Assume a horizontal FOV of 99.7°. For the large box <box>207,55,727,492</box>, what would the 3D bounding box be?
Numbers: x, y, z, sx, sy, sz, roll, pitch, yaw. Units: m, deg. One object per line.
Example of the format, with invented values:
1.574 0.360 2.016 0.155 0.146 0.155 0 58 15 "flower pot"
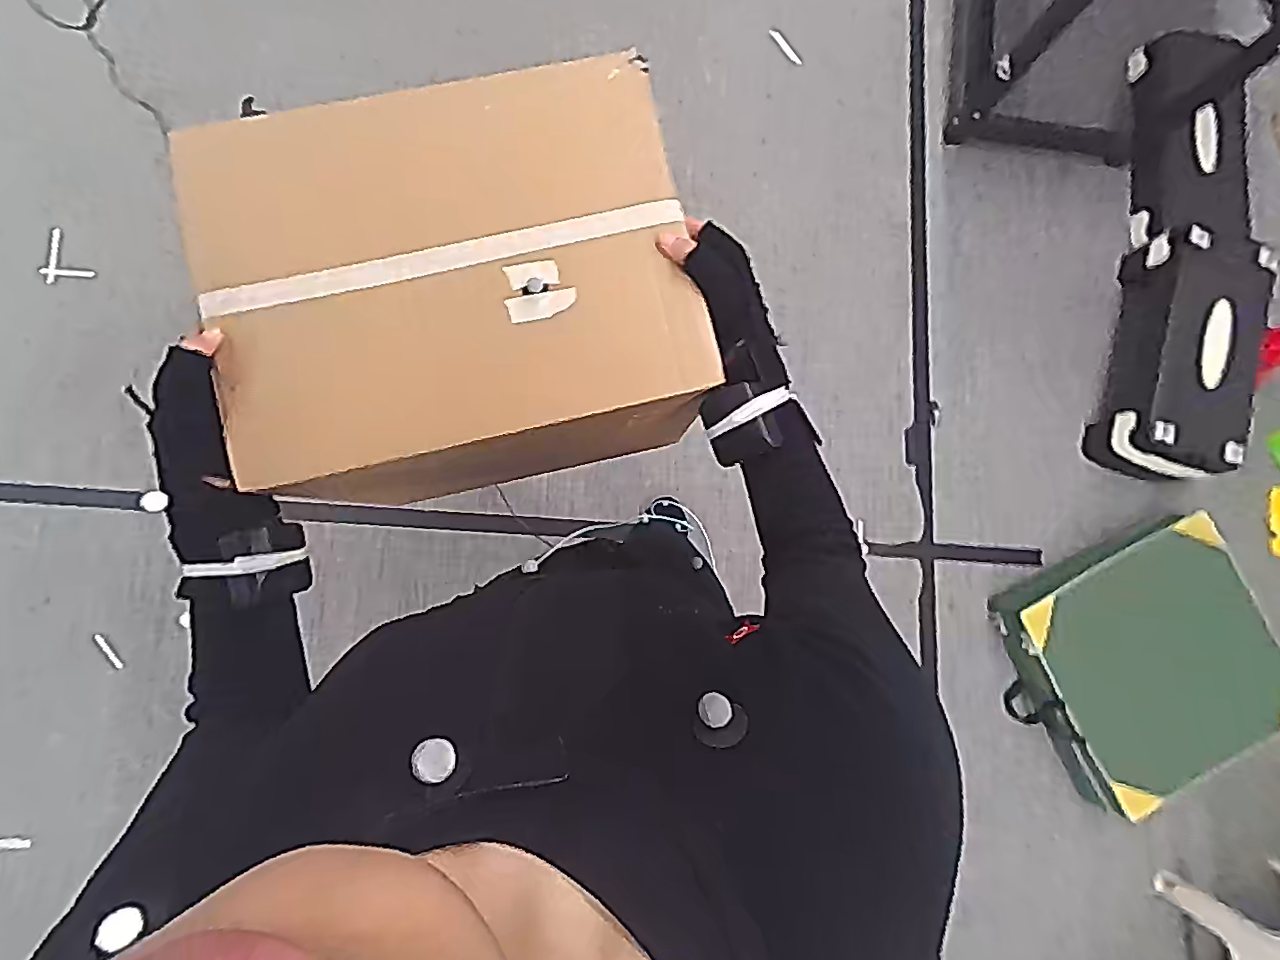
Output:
-0.158 -0.185 0.615 0.408 0.320 0.320 -12 87 -5 "large box"
